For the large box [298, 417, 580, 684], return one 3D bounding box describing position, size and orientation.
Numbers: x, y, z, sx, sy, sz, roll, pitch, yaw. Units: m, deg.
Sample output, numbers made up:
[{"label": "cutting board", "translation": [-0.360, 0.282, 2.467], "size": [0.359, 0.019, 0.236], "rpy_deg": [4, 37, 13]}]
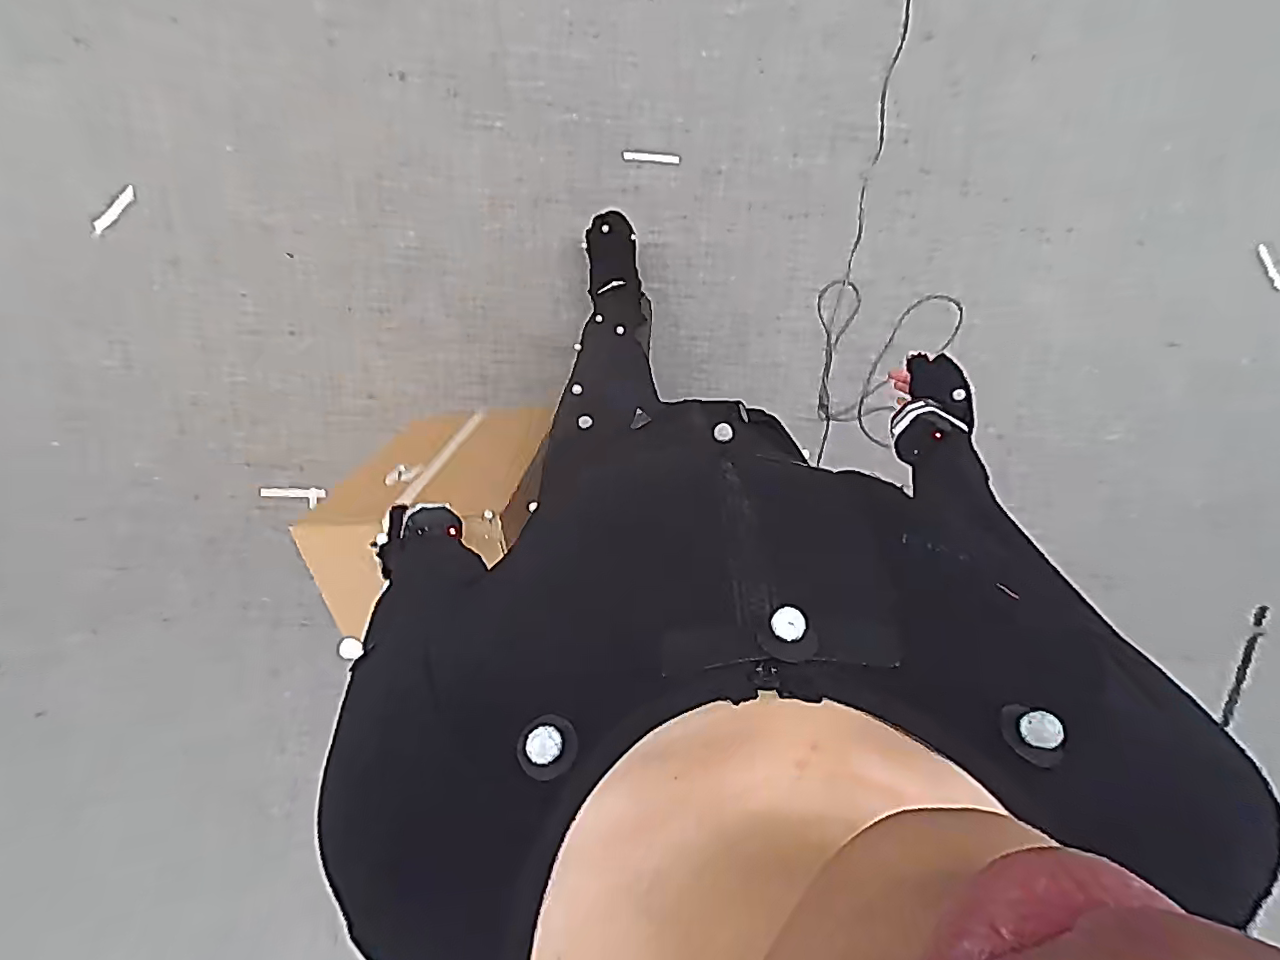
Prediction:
[{"label": "large box", "translation": [-0.310, 0.108, 0.993], "size": [0.320, 0.408, 0.320], "rpy_deg": [-5, 117, 8]}]
